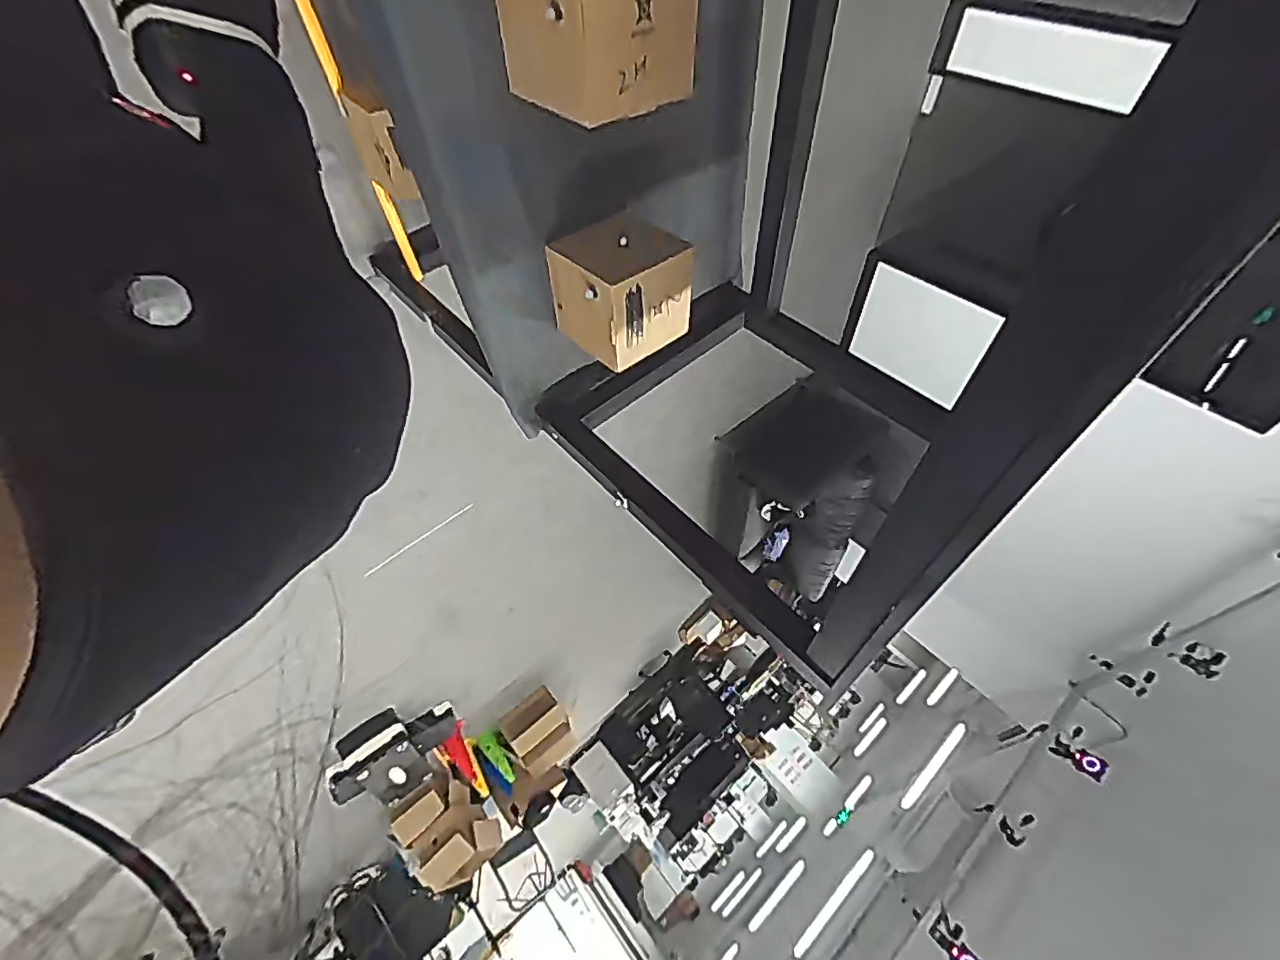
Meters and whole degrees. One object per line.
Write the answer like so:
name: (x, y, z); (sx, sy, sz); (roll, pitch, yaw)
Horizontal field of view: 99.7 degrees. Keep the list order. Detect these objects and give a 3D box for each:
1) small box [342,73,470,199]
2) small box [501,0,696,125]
small box: (-0.487, -0.717, 1.124); (0.179, 0.176, 0.168); (-34, 149, -25)
small box: (-0.051, -0.546, 0.622); (0.168, 0.176, 0.179); (-34, 149, -24)
